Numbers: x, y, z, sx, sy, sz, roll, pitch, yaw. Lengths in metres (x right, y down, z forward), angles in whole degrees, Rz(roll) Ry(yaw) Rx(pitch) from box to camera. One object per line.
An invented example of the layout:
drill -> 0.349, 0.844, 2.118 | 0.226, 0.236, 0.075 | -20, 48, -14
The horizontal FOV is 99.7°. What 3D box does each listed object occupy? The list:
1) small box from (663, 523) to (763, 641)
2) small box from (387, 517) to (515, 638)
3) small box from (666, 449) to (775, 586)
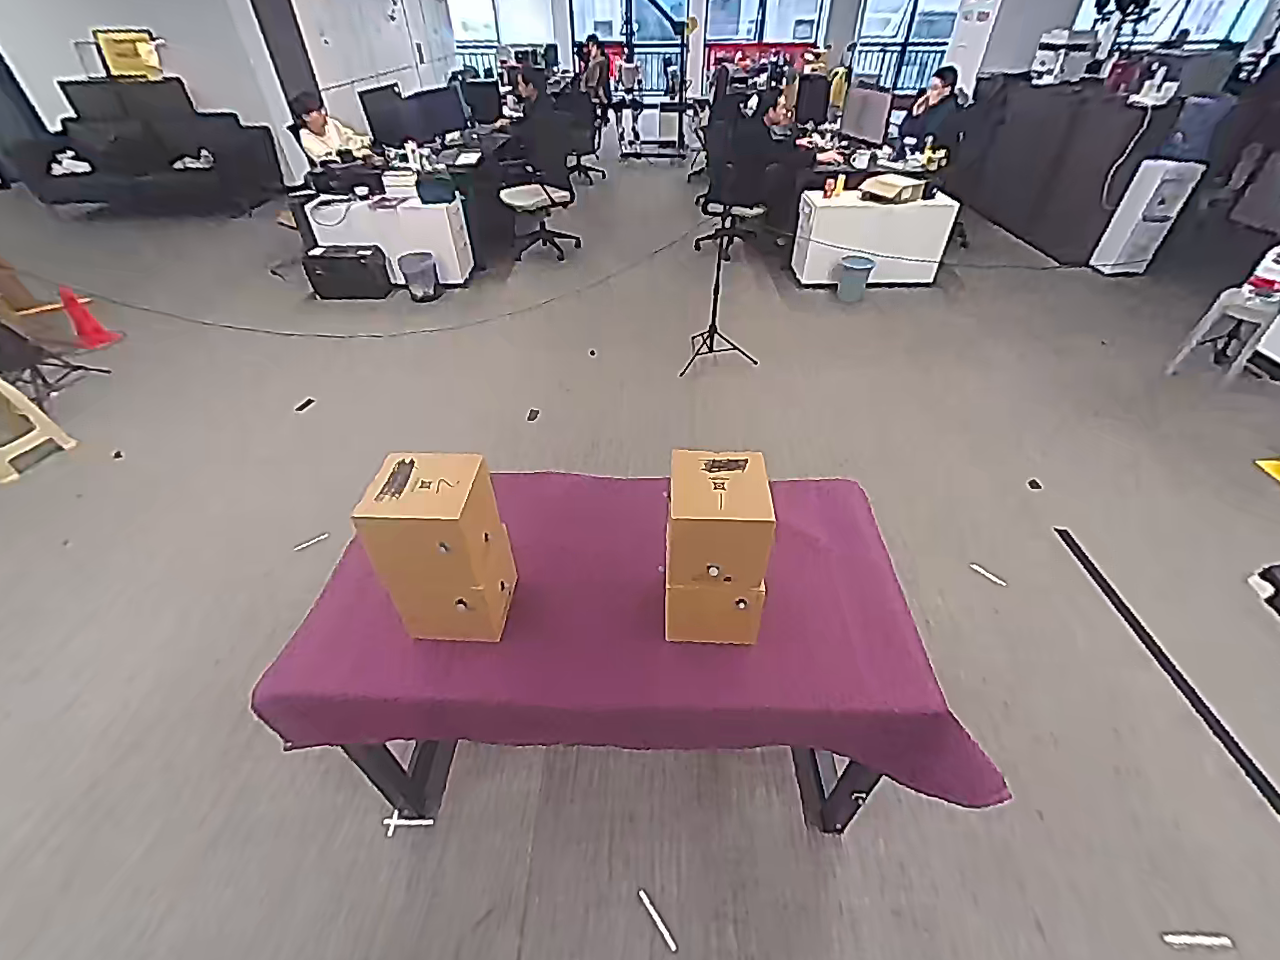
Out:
small box -> 0.134, 0.197, 1.052 | 0.179, 0.176, 0.168 | 2, 41, 2
small box -> -0.355, 0.192, 1.057 | 0.179, 0.176, 0.168 | 2, 41, 3
small box -> 0.132, 0.065, 0.953 | 0.168, 0.176, 0.179 | 2, 41, 2
